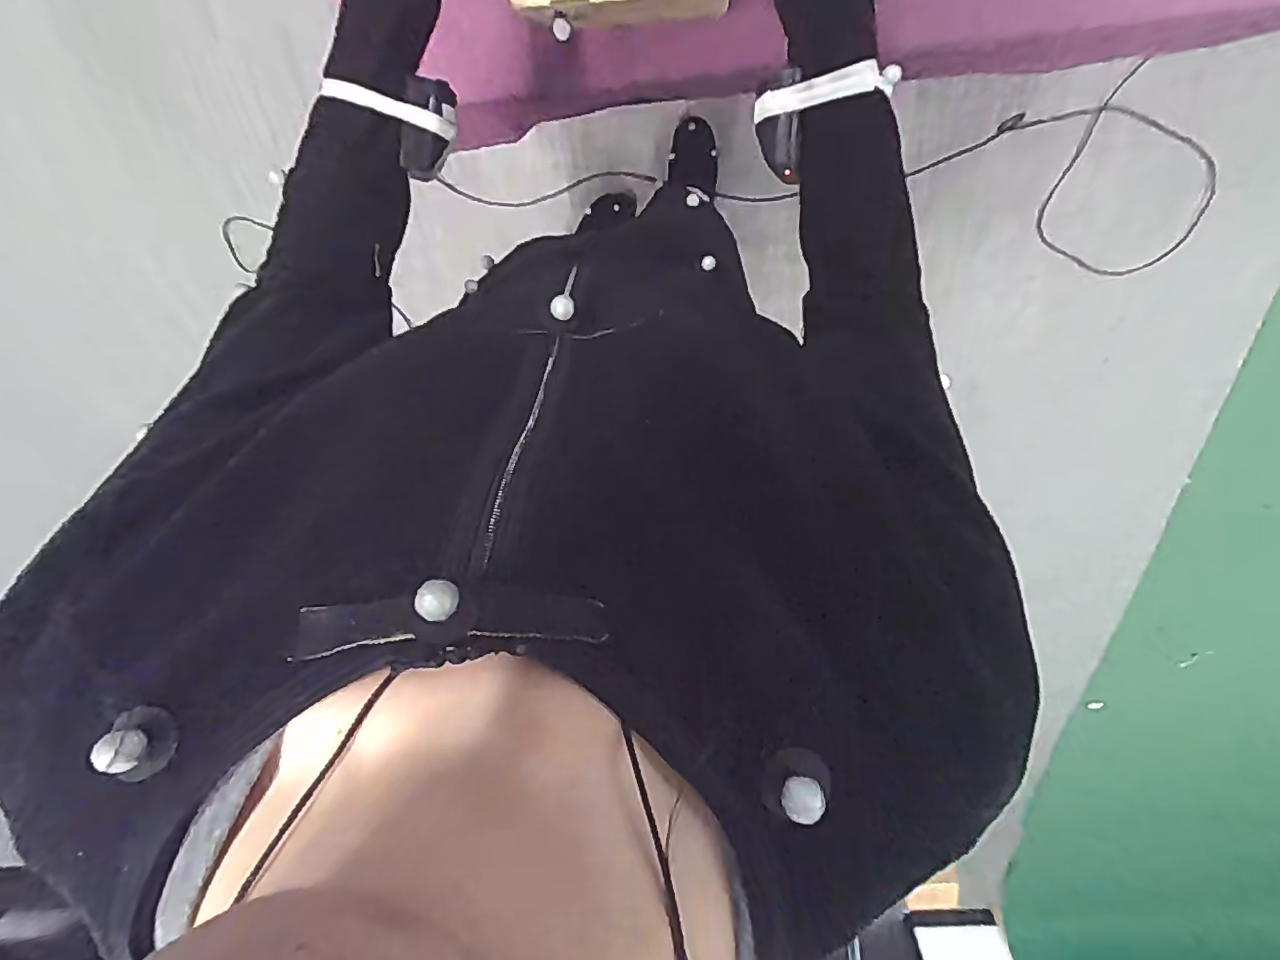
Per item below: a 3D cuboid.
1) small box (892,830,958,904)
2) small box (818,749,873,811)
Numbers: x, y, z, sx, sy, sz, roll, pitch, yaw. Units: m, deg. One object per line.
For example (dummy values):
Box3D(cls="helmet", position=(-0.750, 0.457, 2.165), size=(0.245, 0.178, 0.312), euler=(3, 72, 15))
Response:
Box3D(cls="small box", position=(1.020, 1.389, 1.948), size=(0.168, 0.176, 0.179), euler=(-9, 120, 9))
Box3D(cls="small box", position=(0.851, 1.250, 2.254), size=(0.168, 0.176, 0.179), euler=(-3, 121, 2))
